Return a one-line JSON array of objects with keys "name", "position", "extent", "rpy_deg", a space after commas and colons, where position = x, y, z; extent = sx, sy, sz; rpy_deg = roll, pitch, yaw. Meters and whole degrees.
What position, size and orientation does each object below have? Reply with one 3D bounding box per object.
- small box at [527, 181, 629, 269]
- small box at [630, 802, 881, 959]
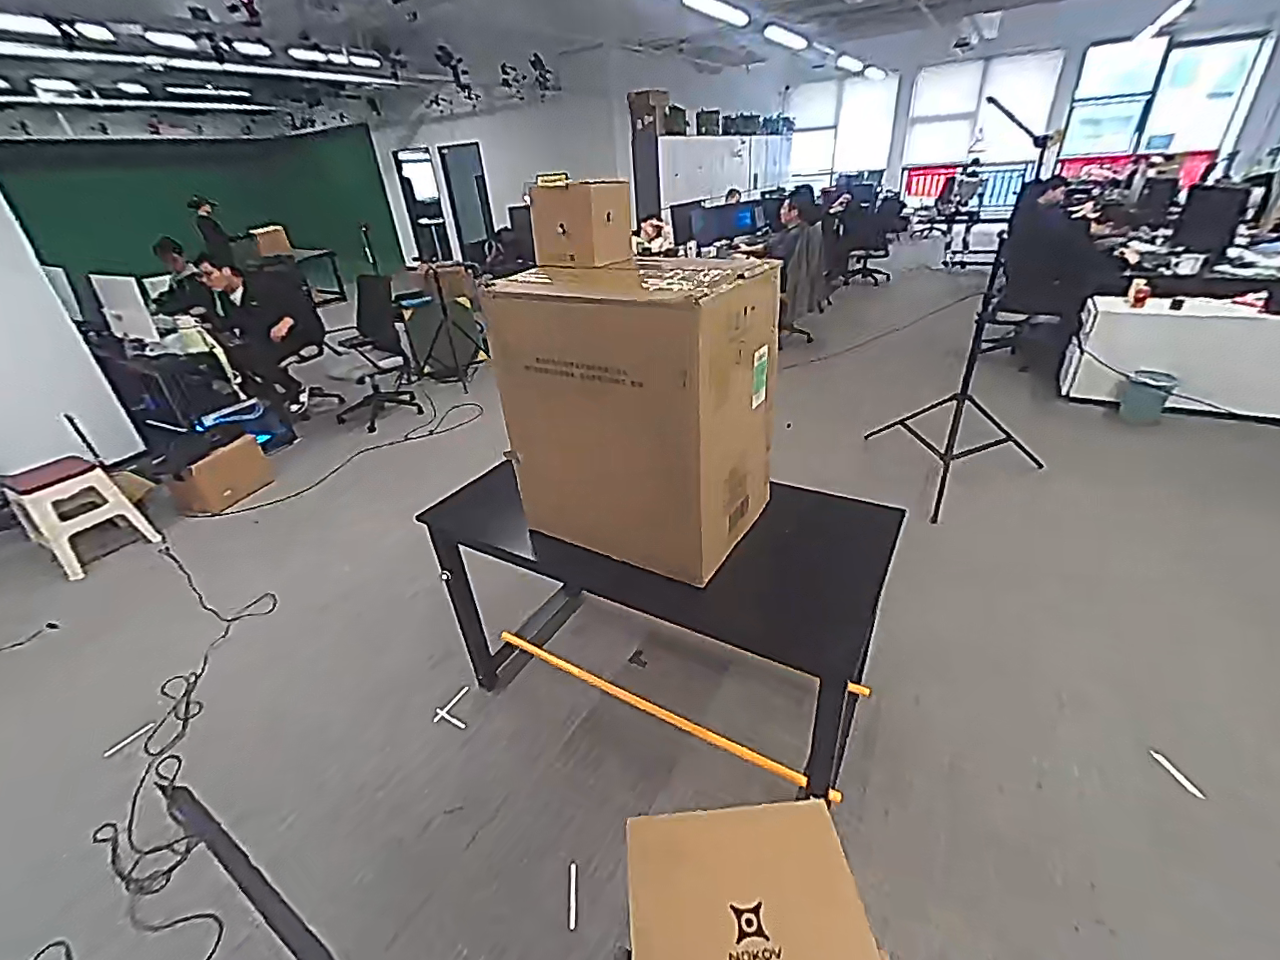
[{"name": "small box", "position": [-0.133, -0.587, 1.248], "extent": [0.168, 0.176, 0.179], "rpy_deg": [12, 32, 25]}, {"name": "small box", "position": [0.080, 0.380, 0.405], "extent": [0.168, 0.176, 0.179], "rpy_deg": [-5, 30, -1]}]
